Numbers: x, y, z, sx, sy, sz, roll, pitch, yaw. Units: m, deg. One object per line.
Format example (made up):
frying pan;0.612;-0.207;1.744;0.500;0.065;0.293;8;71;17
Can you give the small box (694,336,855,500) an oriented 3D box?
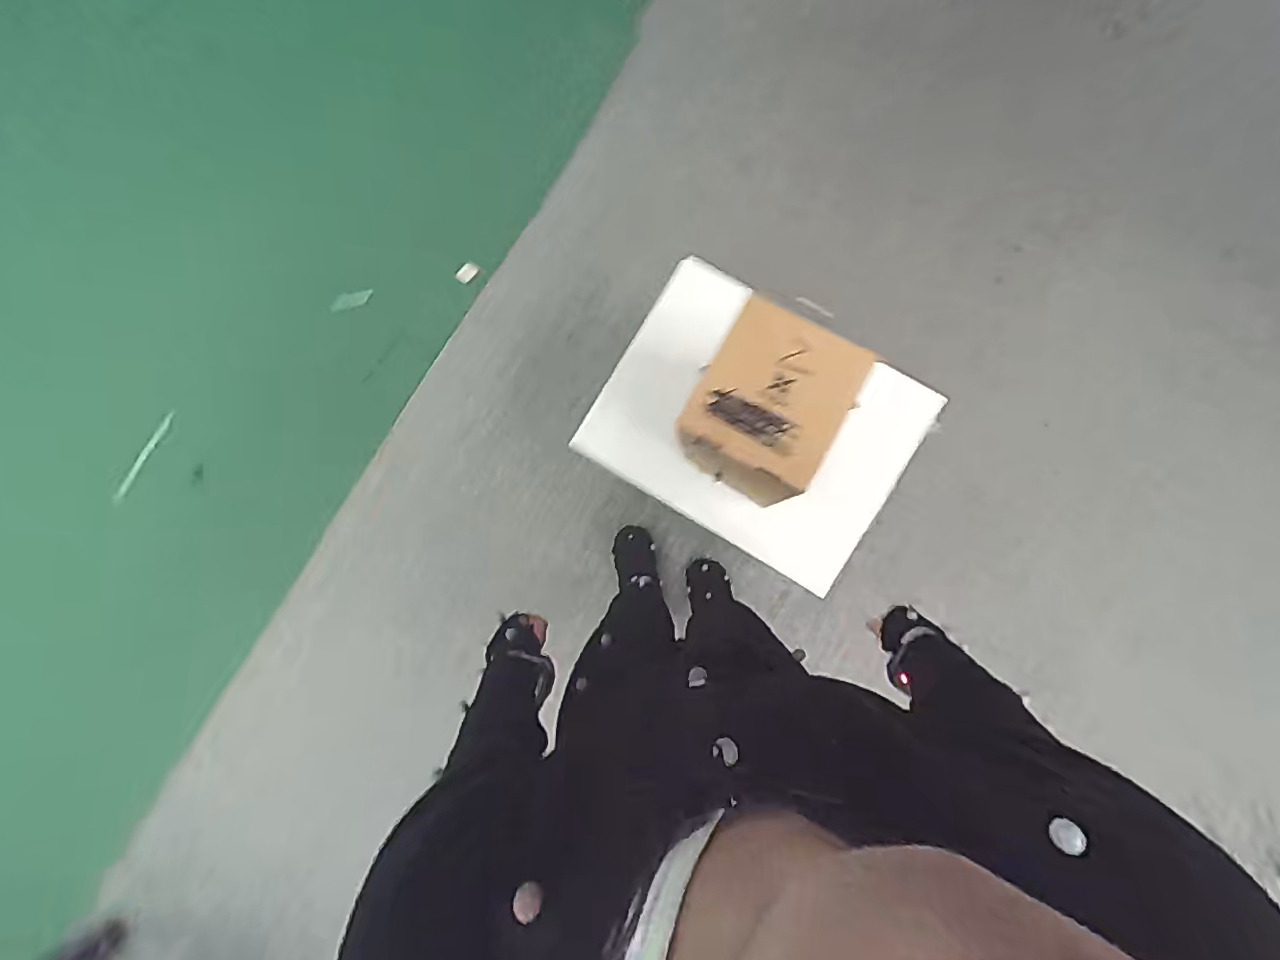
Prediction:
small box;0.193;-0.085;0.835;0.168;0.176;0.179;32;88;8
